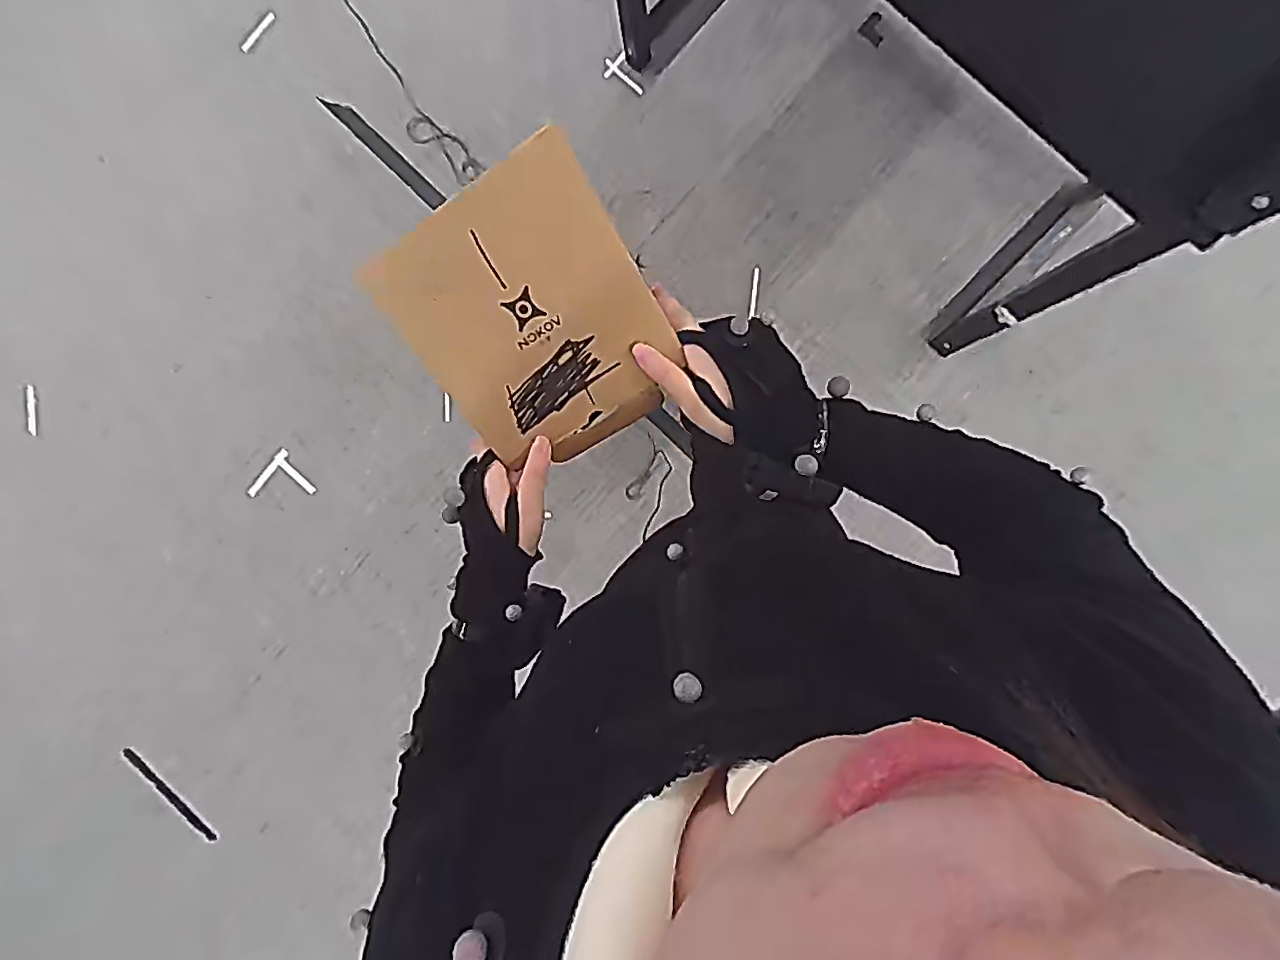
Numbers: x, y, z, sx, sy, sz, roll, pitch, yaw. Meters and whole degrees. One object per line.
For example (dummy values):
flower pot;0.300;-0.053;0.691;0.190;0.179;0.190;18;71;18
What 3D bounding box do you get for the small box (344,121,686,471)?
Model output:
small box;-0.081;-0.143;0.435;0.168;0.176;0.179;-30;112;11
